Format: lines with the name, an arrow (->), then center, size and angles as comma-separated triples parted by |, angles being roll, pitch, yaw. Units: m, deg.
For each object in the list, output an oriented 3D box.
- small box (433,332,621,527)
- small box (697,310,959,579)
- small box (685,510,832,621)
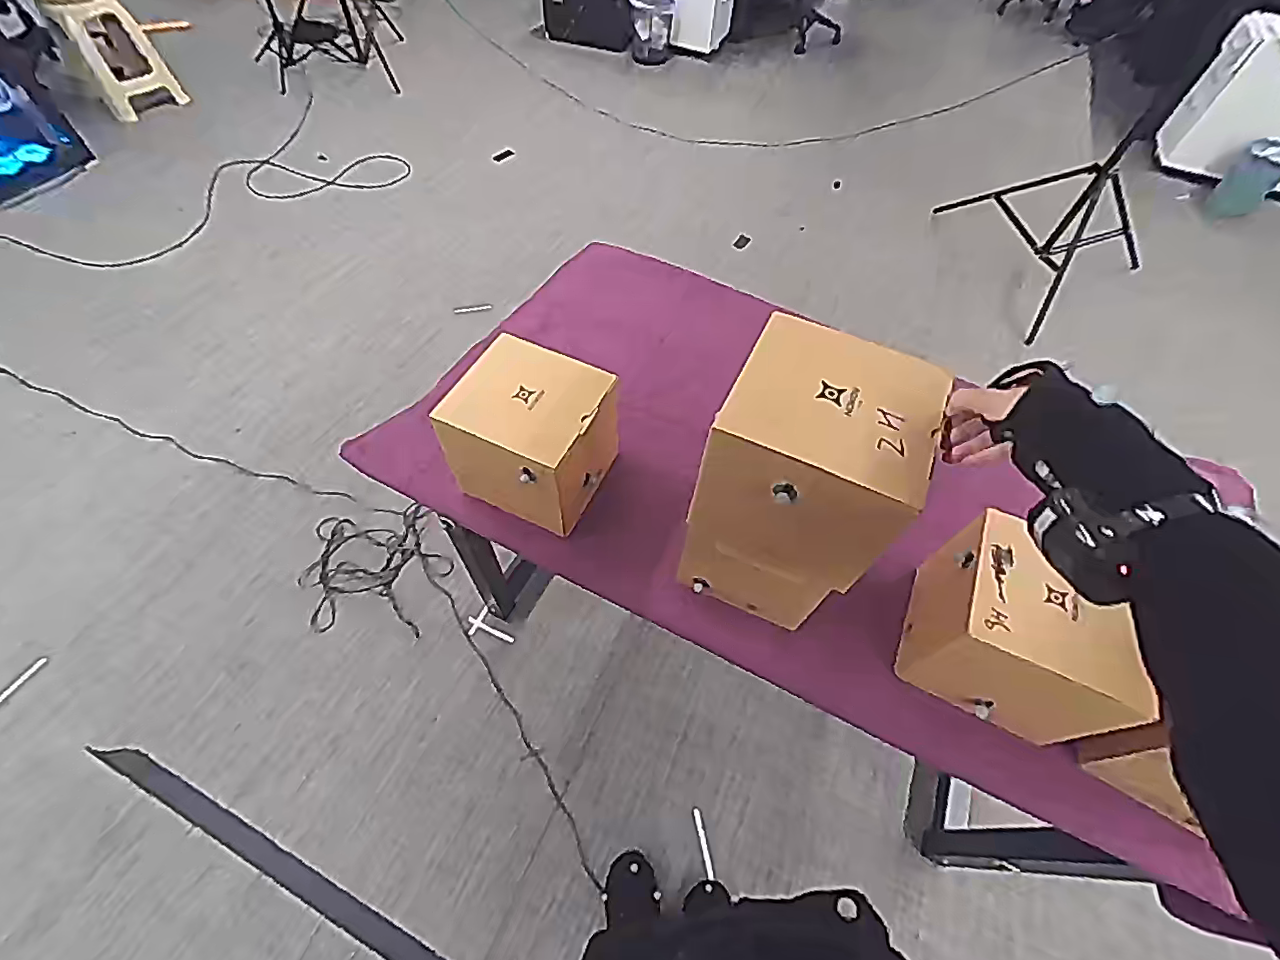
small box -> -0.139, -0.062, 0.728 | 0.179, 0.176, 0.168 | 23, 59, 10
small box -> 0.169, -0.027, 0.528 | 0.179, 0.176, 0.168 | 24, 59, 11
small box -> 0.162, 0.050, 0.674 | 0.168, 0.176, 0.179 | 22, 58, 10
